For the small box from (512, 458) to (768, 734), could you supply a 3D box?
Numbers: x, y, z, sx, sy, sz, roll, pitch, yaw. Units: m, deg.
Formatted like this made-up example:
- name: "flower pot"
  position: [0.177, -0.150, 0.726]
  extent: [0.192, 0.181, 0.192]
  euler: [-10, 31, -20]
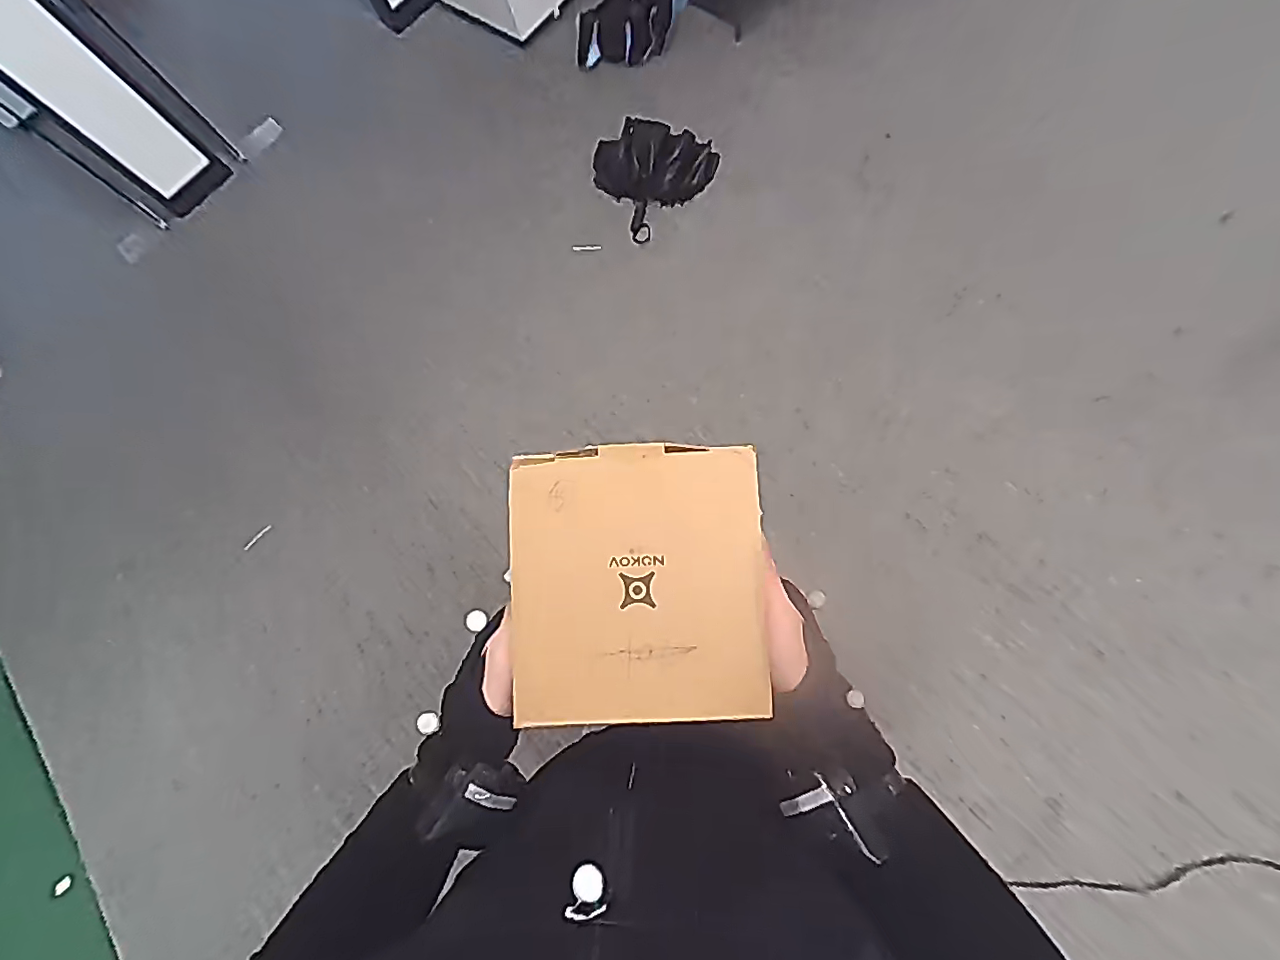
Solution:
- name: "small box"
  position: [-0.001, 0.080, 0.429]
  extent: [0.168, 0.176, 0.179]
  euler: [-1, 86, 1]
